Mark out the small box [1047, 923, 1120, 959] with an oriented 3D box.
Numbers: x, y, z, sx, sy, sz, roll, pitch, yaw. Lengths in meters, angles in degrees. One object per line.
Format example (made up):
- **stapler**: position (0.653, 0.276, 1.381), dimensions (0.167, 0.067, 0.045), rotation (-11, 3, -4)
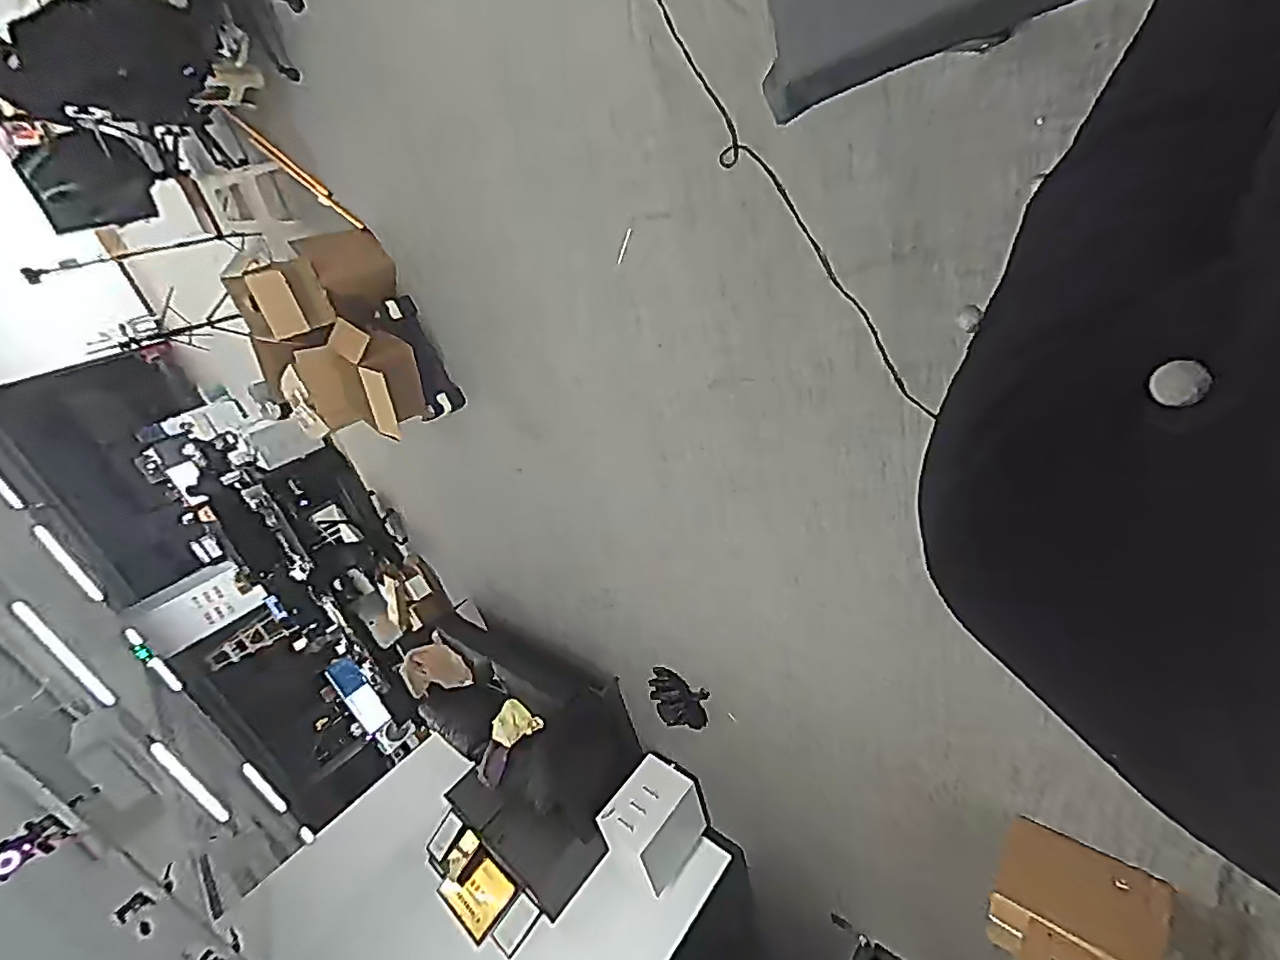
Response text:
- **small box**: position (1.303, 1.468, 1.587), dimensions (0.168, 0.176, 0.179), rotation (14, 128, 42)
